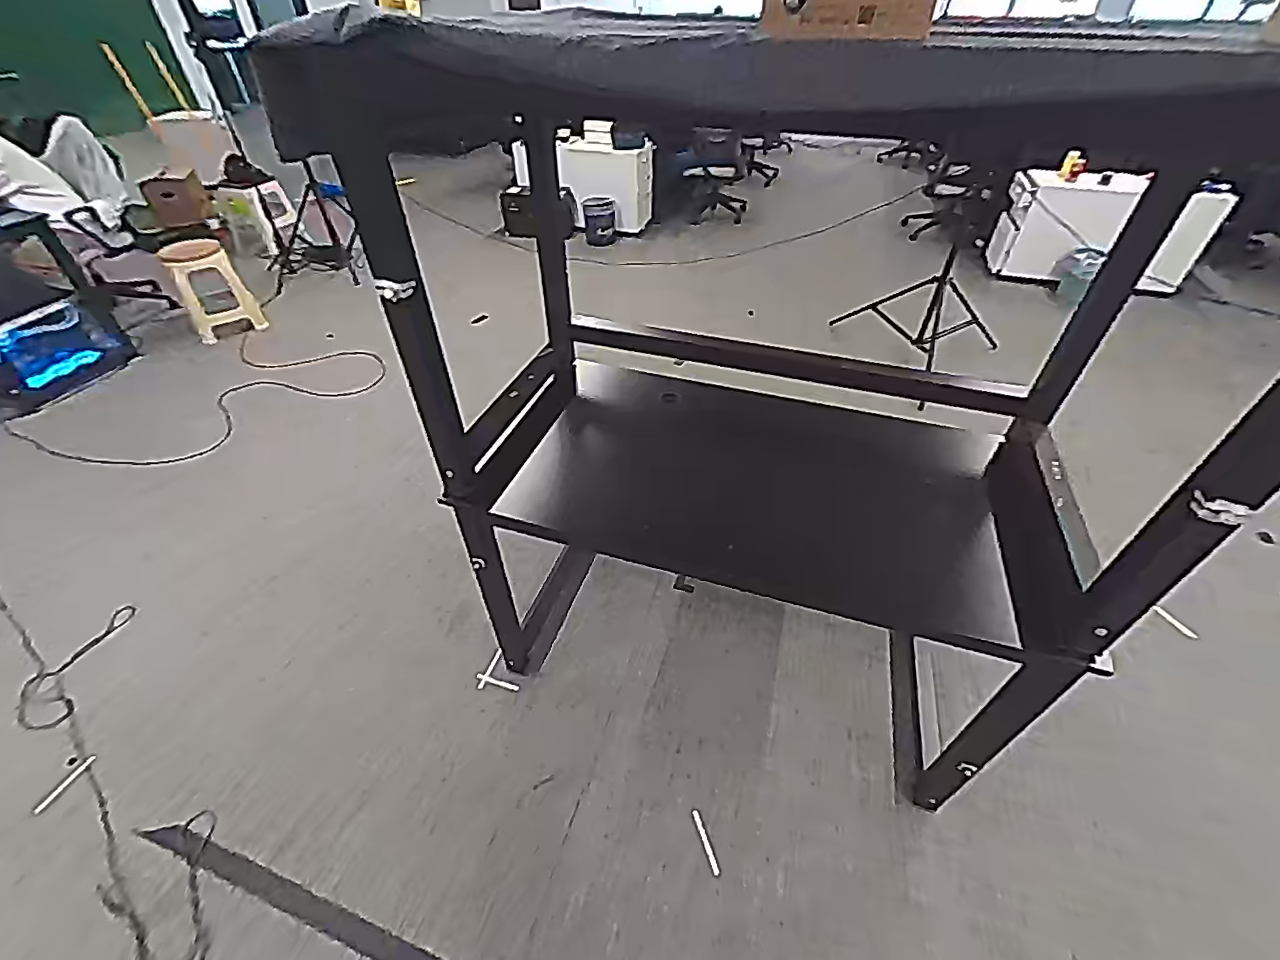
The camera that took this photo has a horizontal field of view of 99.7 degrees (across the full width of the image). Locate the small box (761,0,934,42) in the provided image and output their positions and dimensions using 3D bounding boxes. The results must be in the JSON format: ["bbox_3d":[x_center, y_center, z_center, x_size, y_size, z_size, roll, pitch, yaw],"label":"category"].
[{"bbox_3d":[0.223,-0.556,0.549,0.168,0.176,0.179,12,42,13],"label":"small box"}]
